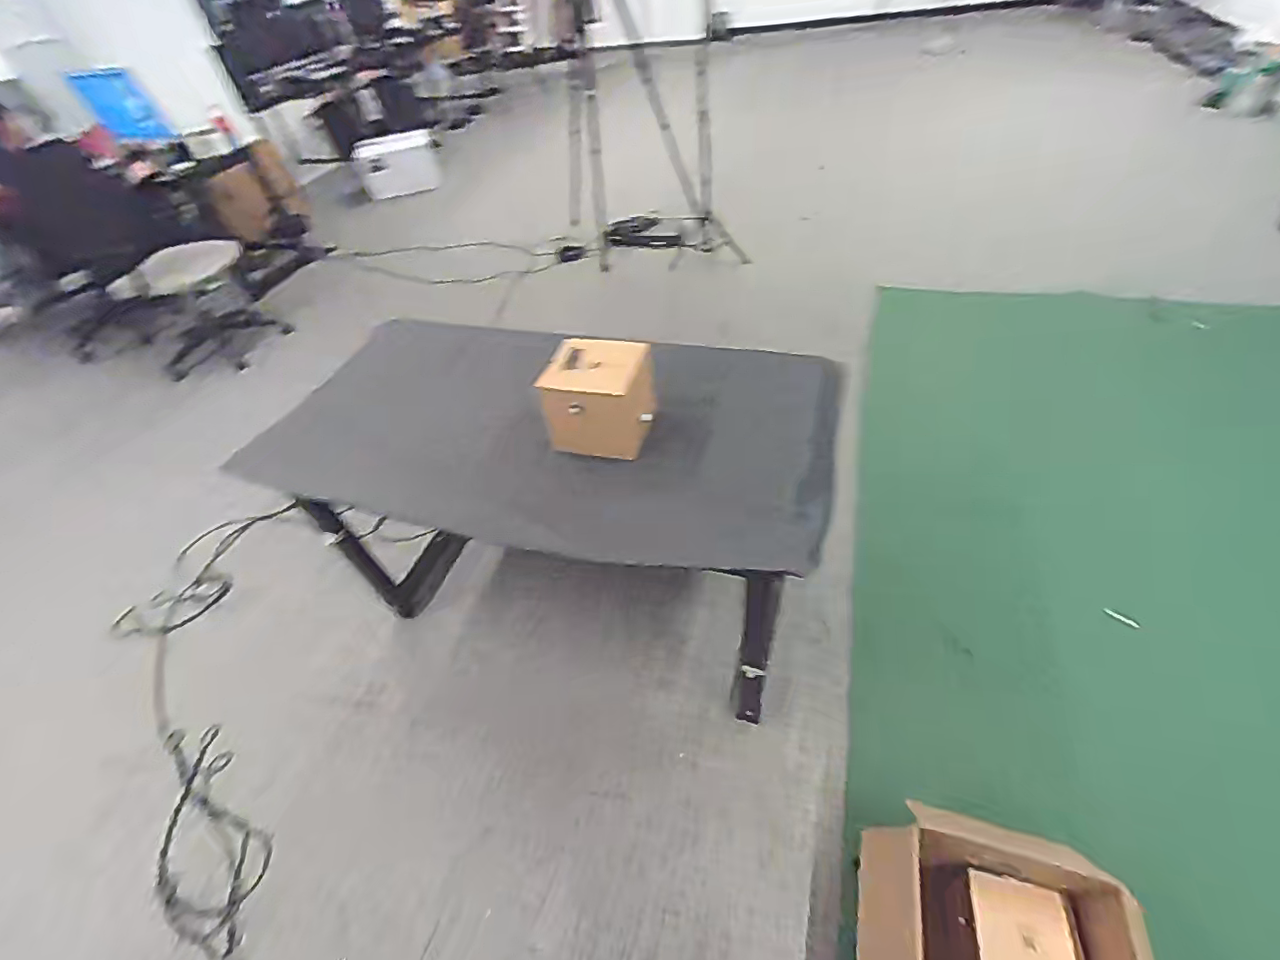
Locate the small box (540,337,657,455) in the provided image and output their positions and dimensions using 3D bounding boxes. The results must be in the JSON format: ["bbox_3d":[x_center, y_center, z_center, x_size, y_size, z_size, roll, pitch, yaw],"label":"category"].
[{"bbox_3d":[-0.074,-0.169,1.091,0.179,0.176,0.168,9,49,16],"label":"small box"}]
